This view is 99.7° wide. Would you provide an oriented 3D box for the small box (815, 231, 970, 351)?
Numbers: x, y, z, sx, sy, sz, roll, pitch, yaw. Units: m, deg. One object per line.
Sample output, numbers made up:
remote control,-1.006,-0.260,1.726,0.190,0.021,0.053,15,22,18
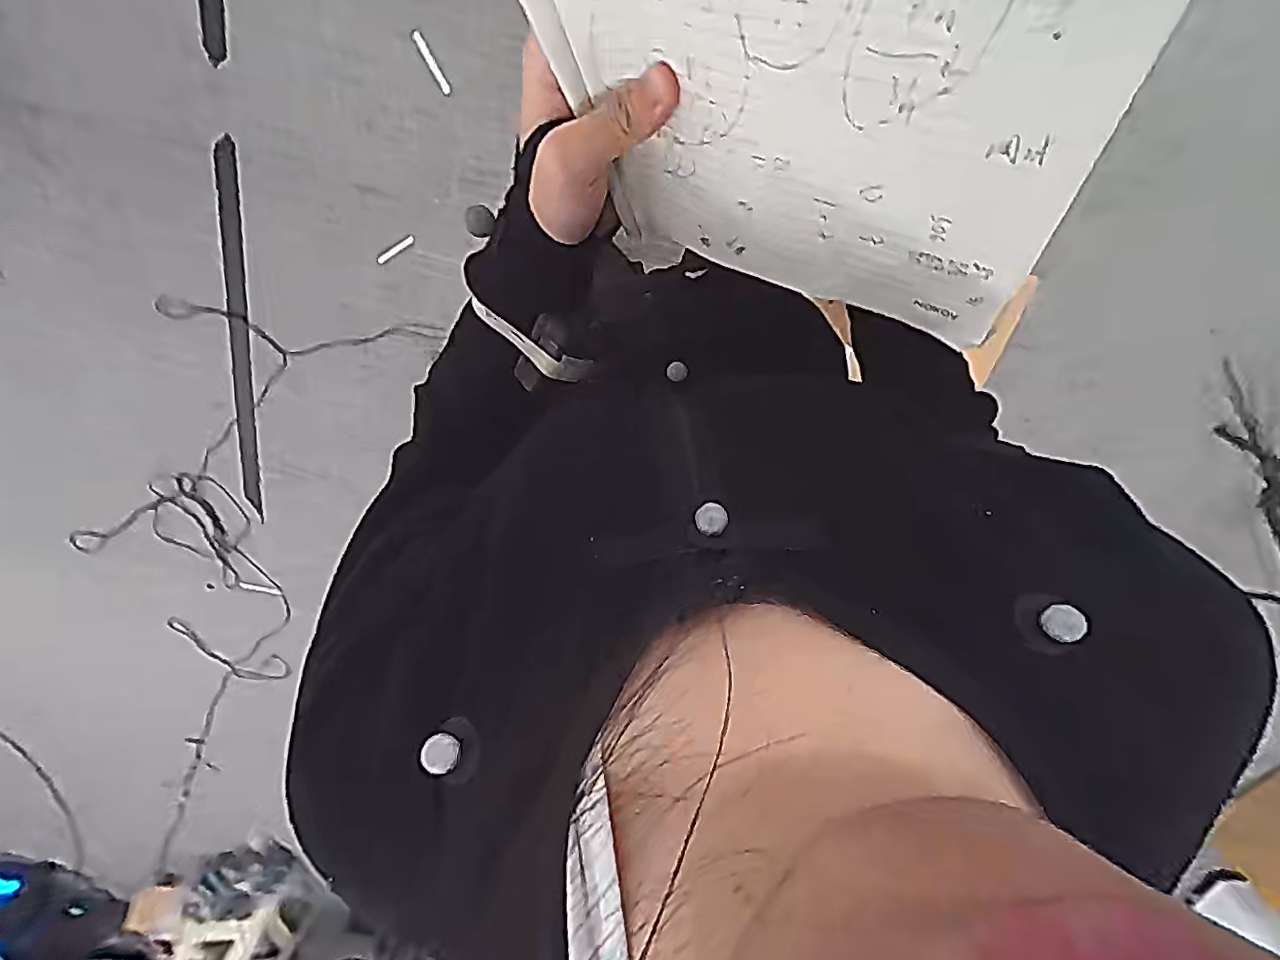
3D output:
small box,0.441,-0.349,0.983,0.179,0.176,0.168,9,118,-5
